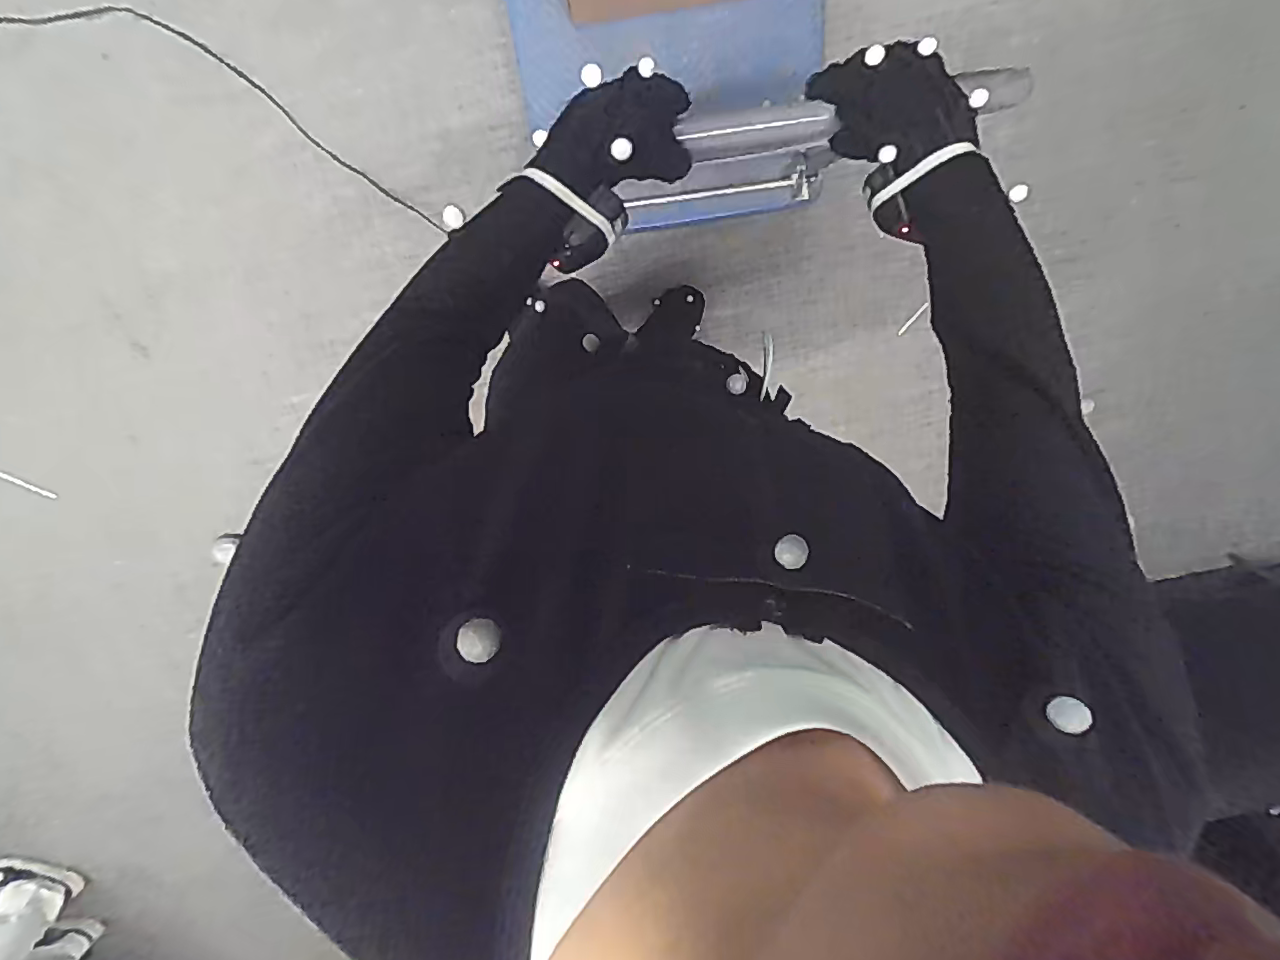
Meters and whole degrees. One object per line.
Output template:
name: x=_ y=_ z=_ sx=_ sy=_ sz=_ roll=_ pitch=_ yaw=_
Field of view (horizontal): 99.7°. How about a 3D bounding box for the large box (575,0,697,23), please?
large box: x=0.066 y=-0.950 z=0.796 sx=0.408 sy=0.320 sz=0.320 roll=-9 pitch=113 yaw=2
